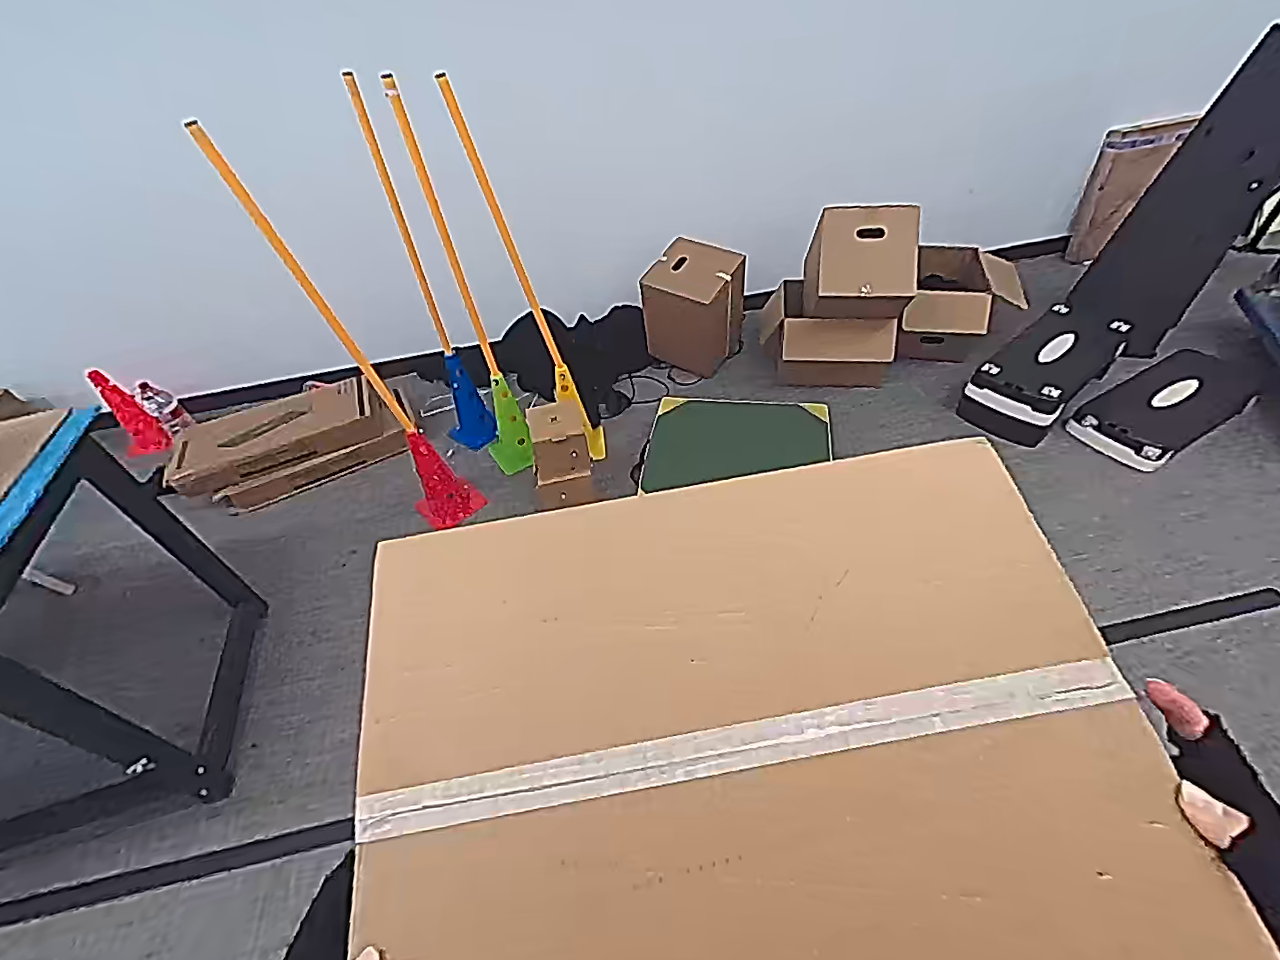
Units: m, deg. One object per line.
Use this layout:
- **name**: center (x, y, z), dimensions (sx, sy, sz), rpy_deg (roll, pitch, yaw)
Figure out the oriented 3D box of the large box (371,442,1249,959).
- **large box**: center (0.064, 0.212, 0.426), dimensions (0.408, 0.320, 0.320), rpy_deg (-10, 62, 0)
